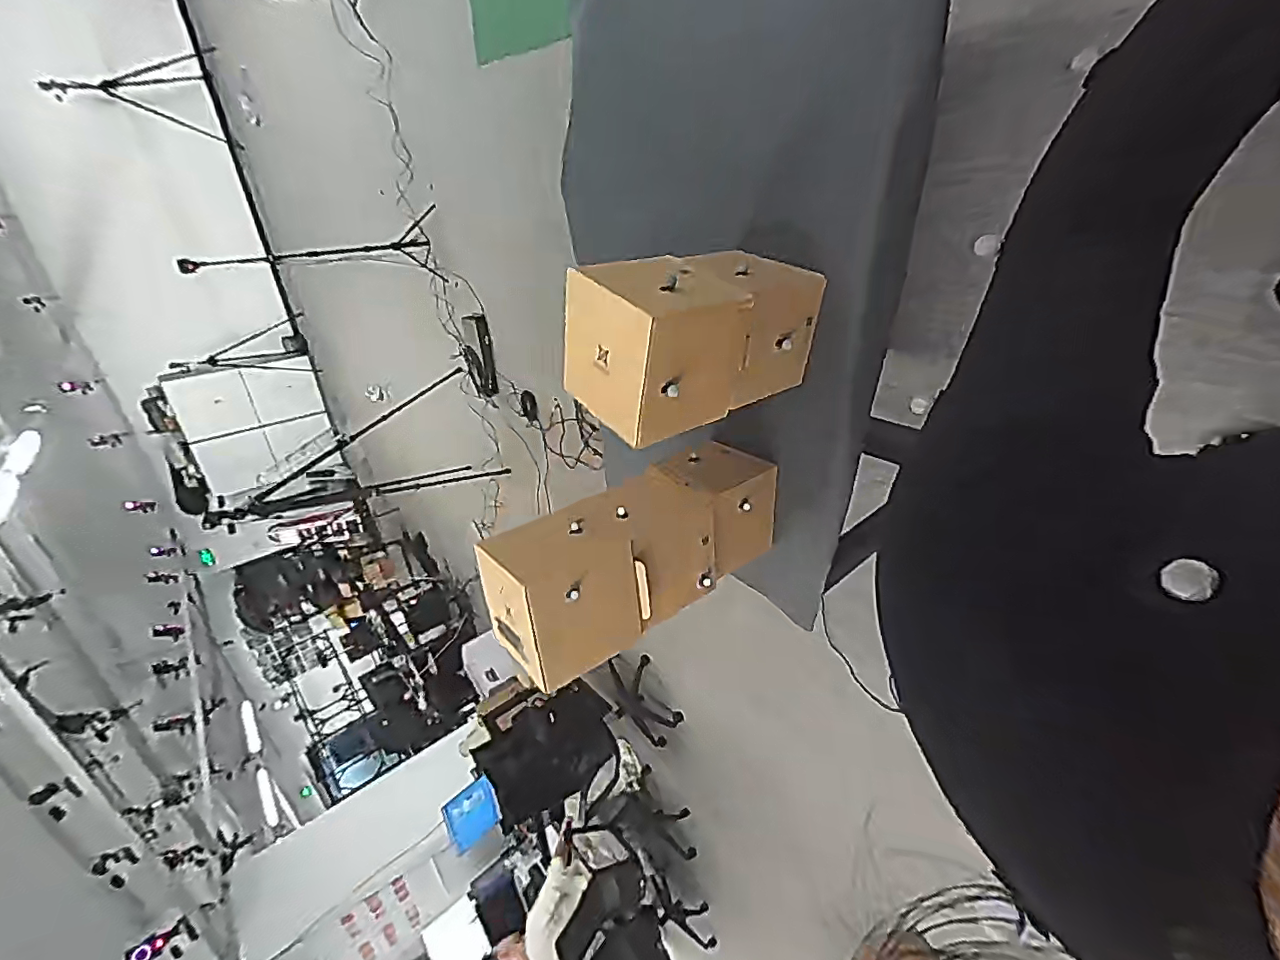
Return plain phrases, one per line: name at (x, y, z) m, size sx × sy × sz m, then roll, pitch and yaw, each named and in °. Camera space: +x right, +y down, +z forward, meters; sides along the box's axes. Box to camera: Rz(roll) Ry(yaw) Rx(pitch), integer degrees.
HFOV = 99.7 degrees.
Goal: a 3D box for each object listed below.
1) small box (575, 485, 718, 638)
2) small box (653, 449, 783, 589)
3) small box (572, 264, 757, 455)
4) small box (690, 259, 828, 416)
small box at (0.017, 0.122, 0.897) m, size 0.179 × 0.176 × 0.168 m, roll 23°, pitch 126°, yaw 49°
small box at (0.143, 0.059, 0.983) m, size 0.168 × 0.176 × 0.179 m, roll 27°, pitch 130°, yaw 46°
small box at (0.028, -0.167, 0.707) m, size 0.168 × 0.176 × 0.179 m, roll 41°, pitch 140°, yaw 35°
small box at (0.149, -0.221, 0.804) m, size 0.179 × 0.176 × 0.168 m, roll 35°, pitch 136°, yaw 38°
